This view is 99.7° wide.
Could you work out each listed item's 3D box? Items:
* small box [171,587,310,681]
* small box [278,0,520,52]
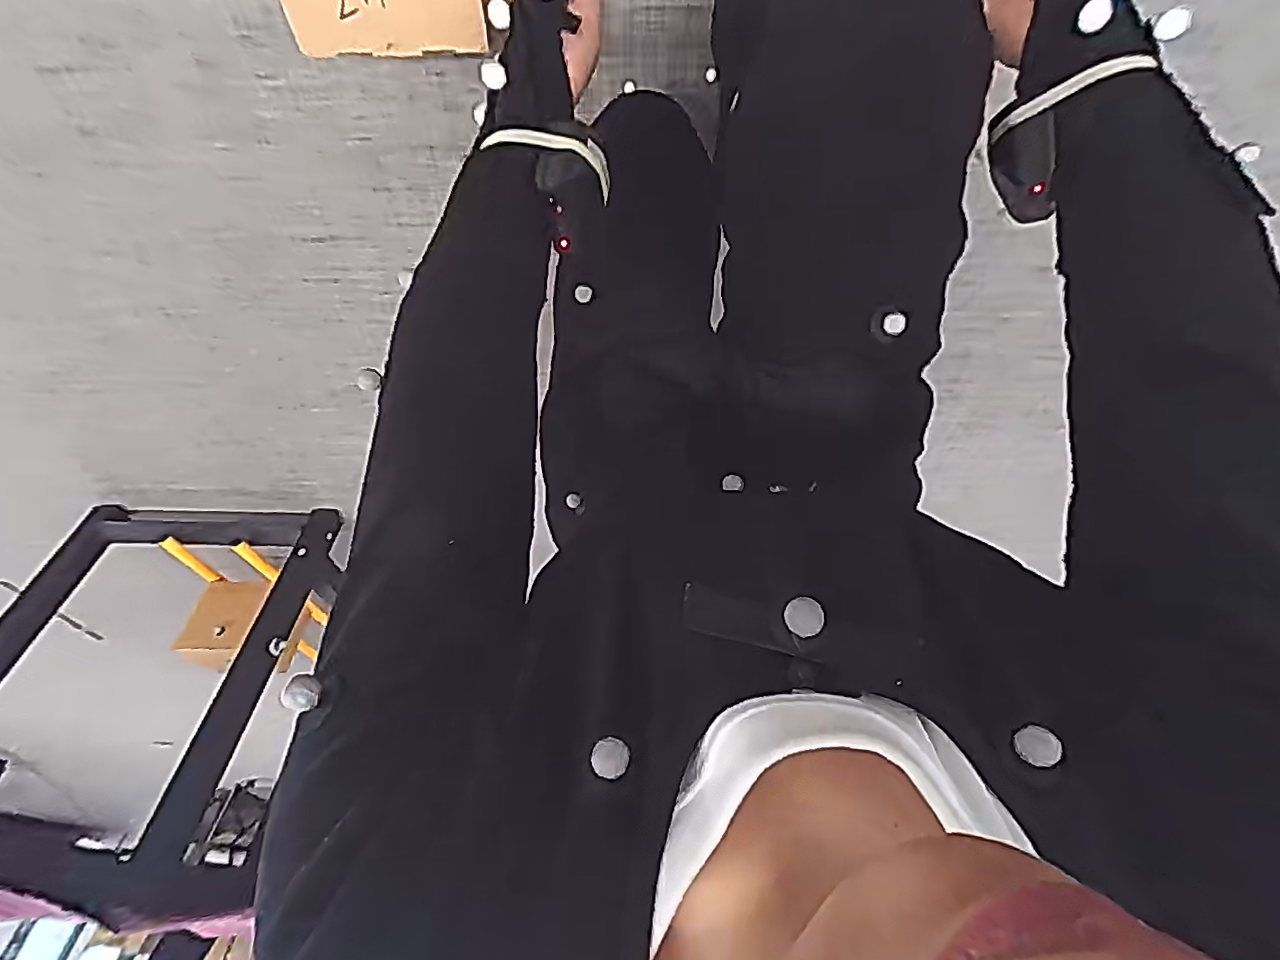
[{"bbox_3d":[-0.936,0.365,1.288,0.179,0.176,0.168,-1,141,1],"label":"small box"},{"bbox_3d":[-0.204,-0.475,0.437,0.168,0.176,0.179,0,140,2],"label":"small box"}]
